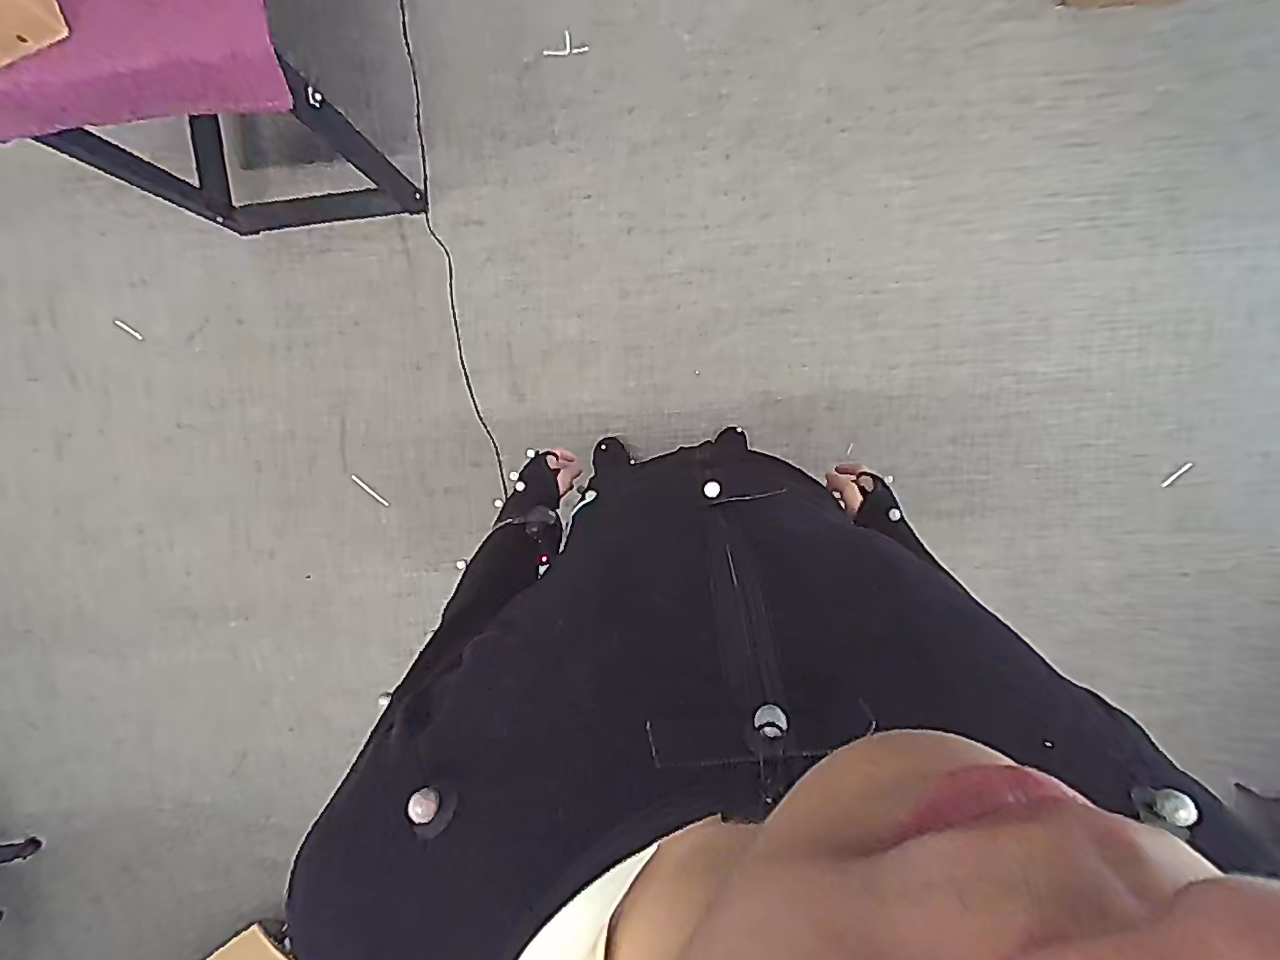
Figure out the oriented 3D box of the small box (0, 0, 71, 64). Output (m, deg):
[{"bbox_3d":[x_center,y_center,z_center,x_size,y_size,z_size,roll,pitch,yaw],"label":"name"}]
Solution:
[{"bbox_3d":[-1.019,-0.762,0.797,0.168,0.176,0.179,-19,94,3],"label":"small box"}]
